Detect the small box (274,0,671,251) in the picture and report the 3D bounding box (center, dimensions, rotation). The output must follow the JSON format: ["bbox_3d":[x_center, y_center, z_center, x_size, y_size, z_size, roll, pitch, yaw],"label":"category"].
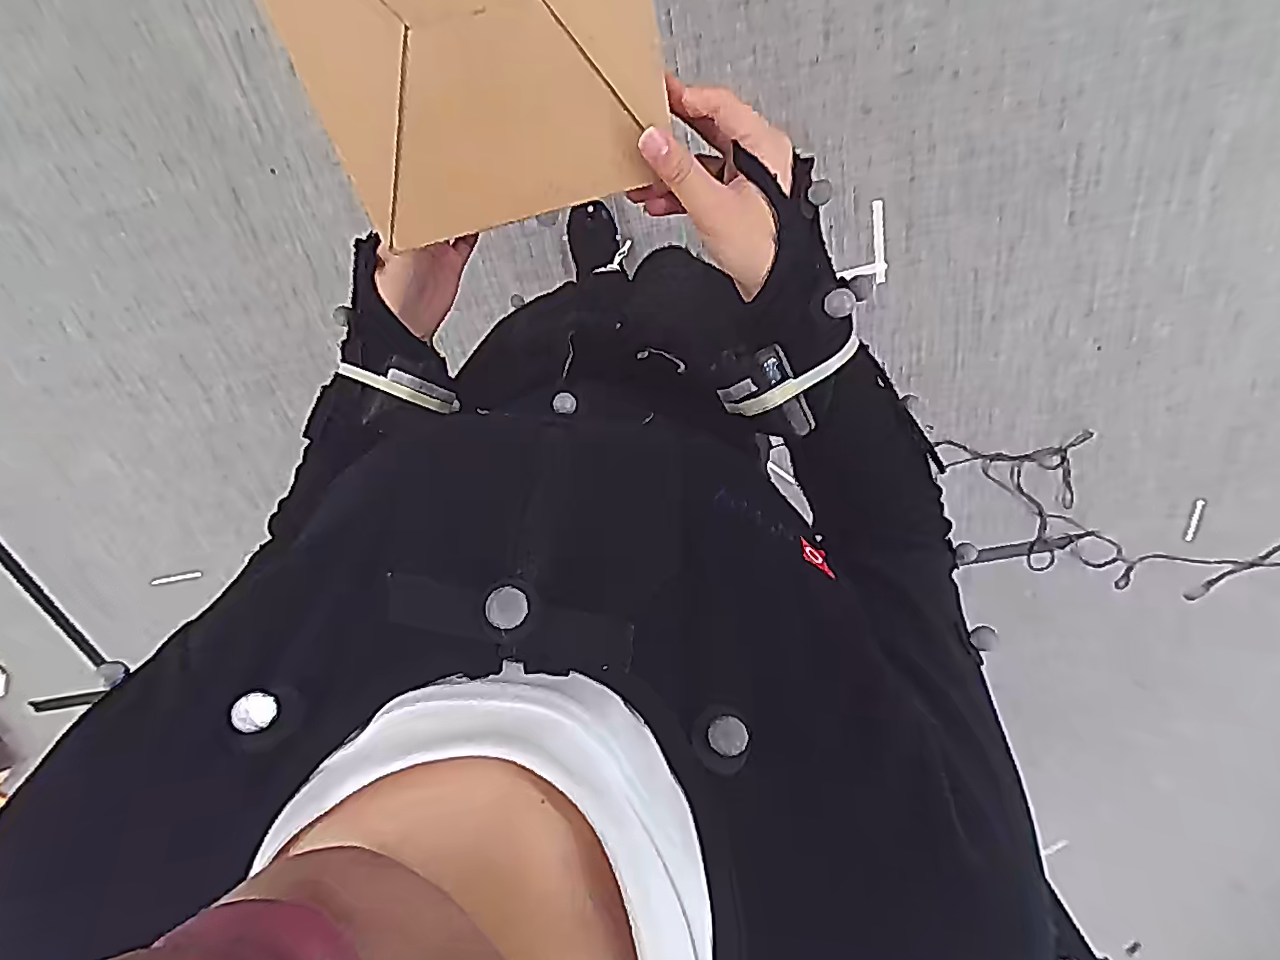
[{"bbox_3d":[-0.088,-0.258,0.307,0.168,0.176,0.179,-16,129,-1],"label":"small box"}]
